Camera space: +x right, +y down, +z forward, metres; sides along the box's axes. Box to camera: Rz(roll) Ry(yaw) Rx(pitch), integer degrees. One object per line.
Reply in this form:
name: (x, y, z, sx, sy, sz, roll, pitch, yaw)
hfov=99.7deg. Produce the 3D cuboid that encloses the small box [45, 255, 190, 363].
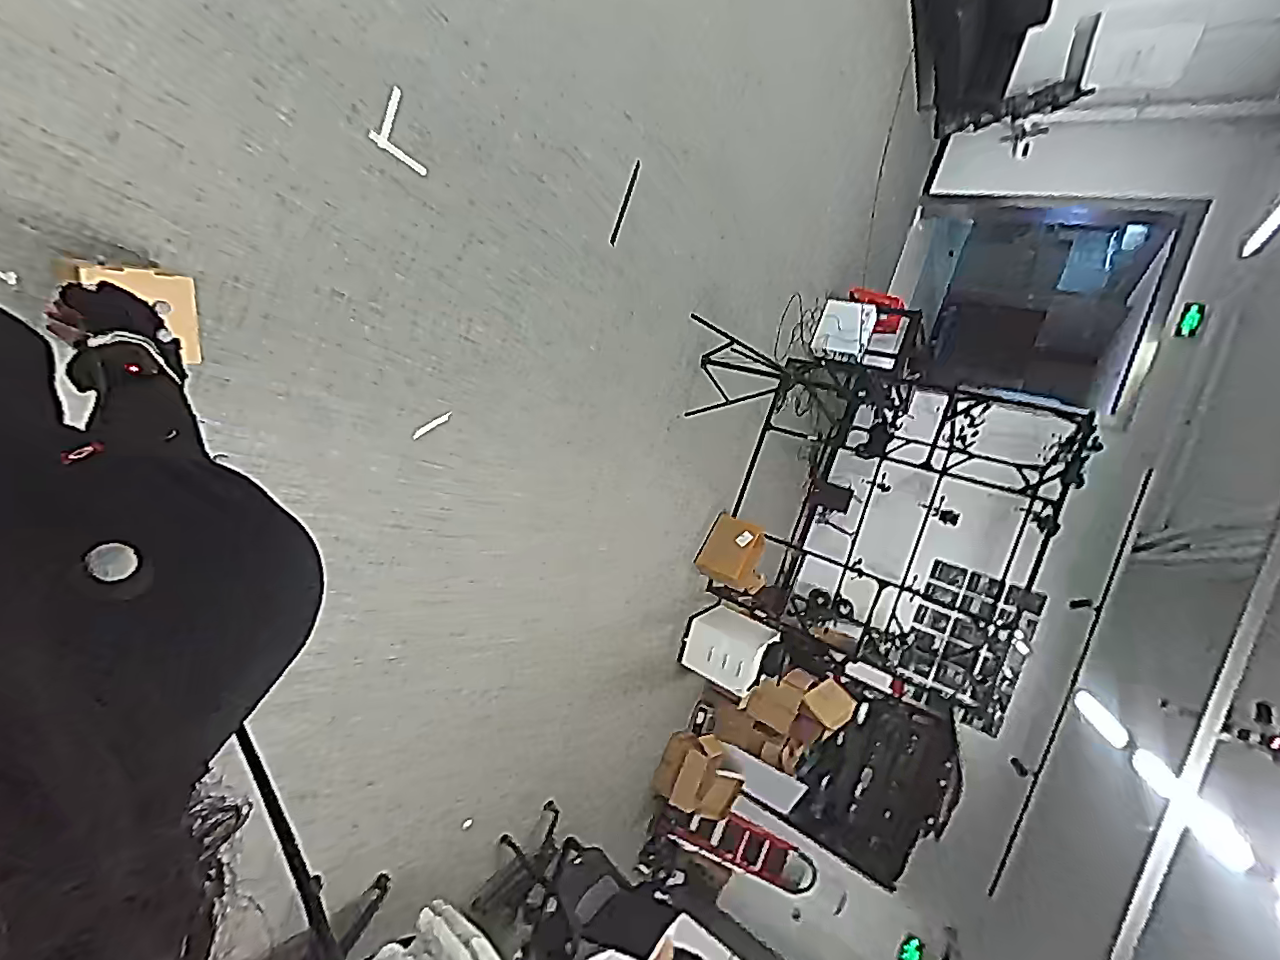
small box: (-1.021, -0.333, 1.060, 0.168, 0.176, 0.179, -16, 121, -53)
